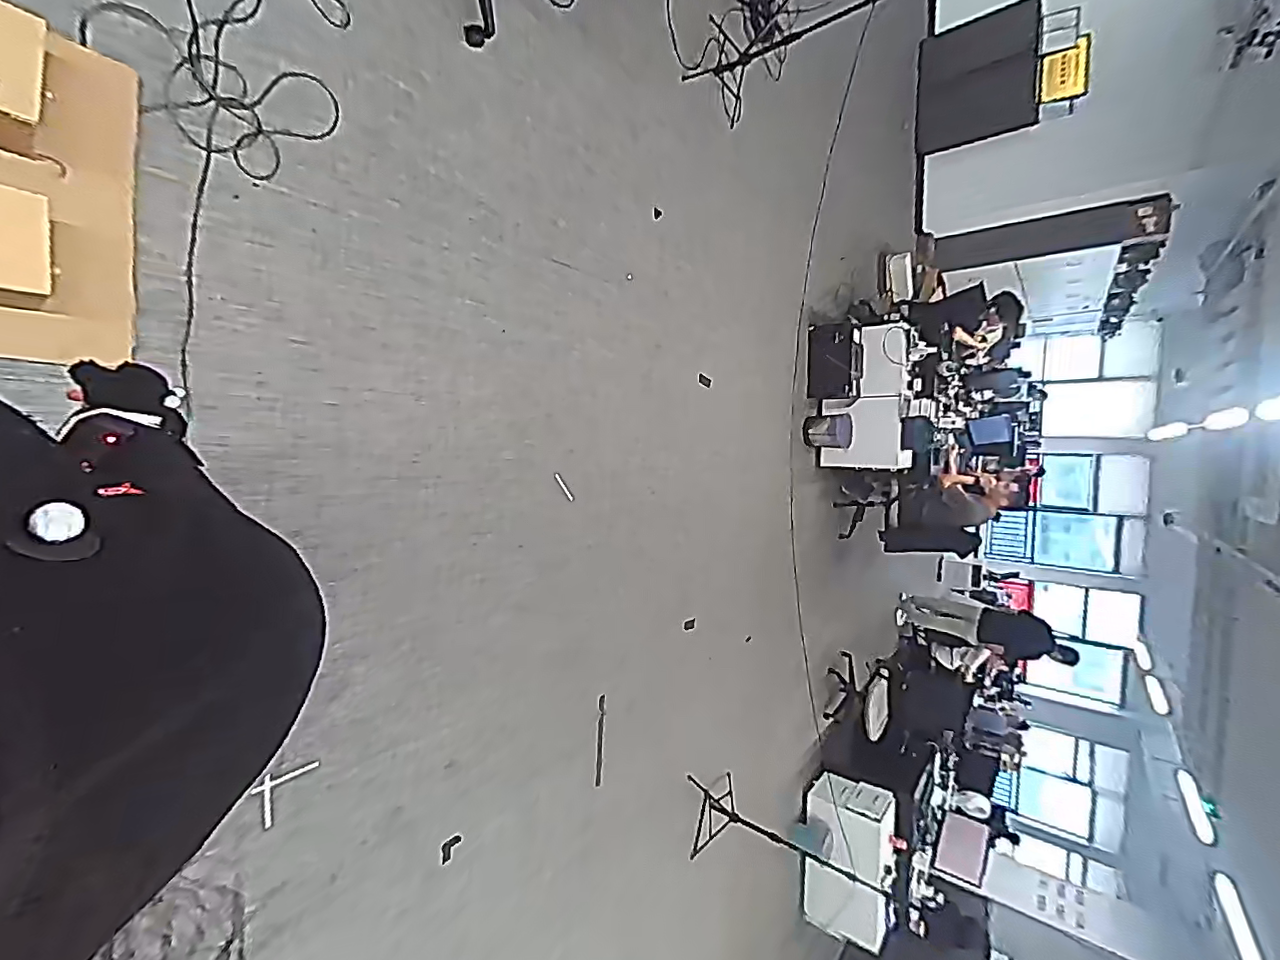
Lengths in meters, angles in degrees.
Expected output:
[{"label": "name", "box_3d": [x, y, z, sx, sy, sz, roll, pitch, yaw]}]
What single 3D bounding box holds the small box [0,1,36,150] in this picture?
[{"label": "small box", "box_3d": [-1.101, -0.674, 0.869, 0.168, 0.176, 0.179, 4, 89, -50]}]
